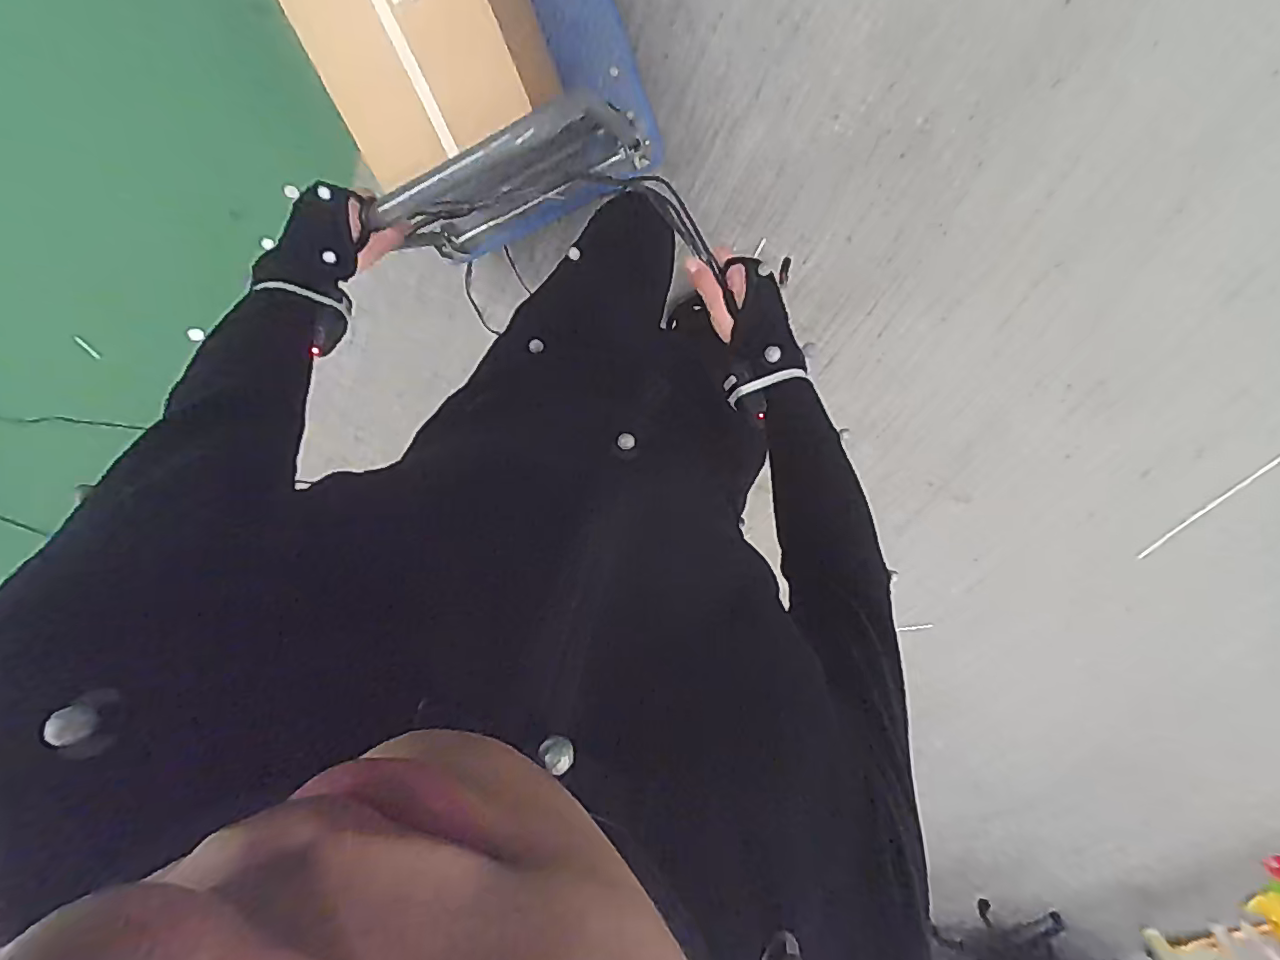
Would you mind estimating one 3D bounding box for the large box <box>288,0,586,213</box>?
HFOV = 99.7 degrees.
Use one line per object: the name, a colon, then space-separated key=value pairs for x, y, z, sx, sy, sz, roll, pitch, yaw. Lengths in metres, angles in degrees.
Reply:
large box: x=-0.344 y=-0.759 z=0.985 sx=0.320 sy=0.320 sz=0.408 roll=-16 pitch=116 yaw=16
